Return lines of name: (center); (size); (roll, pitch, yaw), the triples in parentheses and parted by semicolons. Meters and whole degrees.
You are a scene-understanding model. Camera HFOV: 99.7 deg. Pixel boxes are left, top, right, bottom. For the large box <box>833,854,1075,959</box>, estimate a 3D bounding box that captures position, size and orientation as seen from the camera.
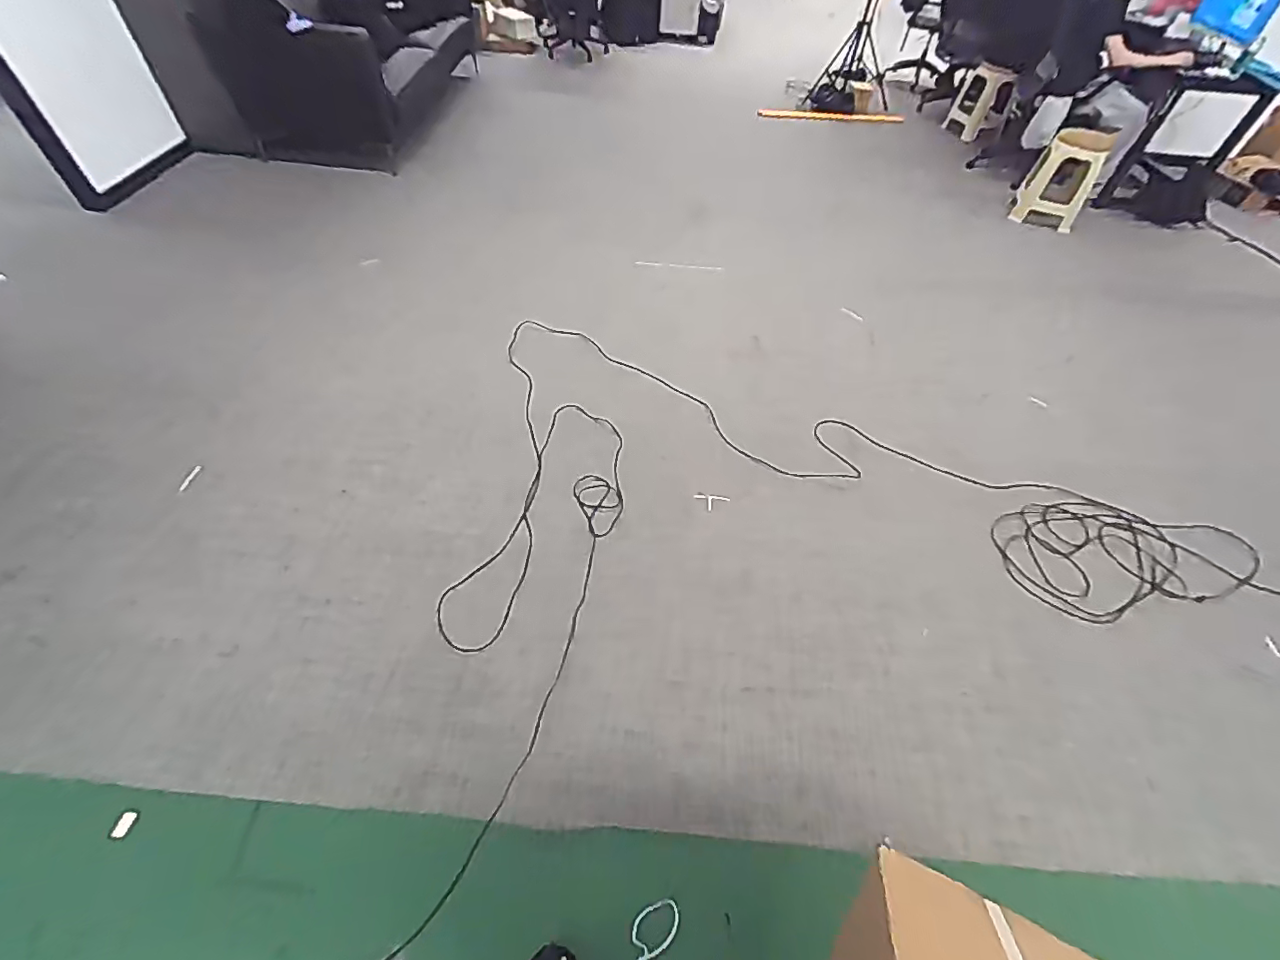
large box: (0.386, 0.761, 0.611); (0.320, 0.408, 0.320); (23, 95, 18)
